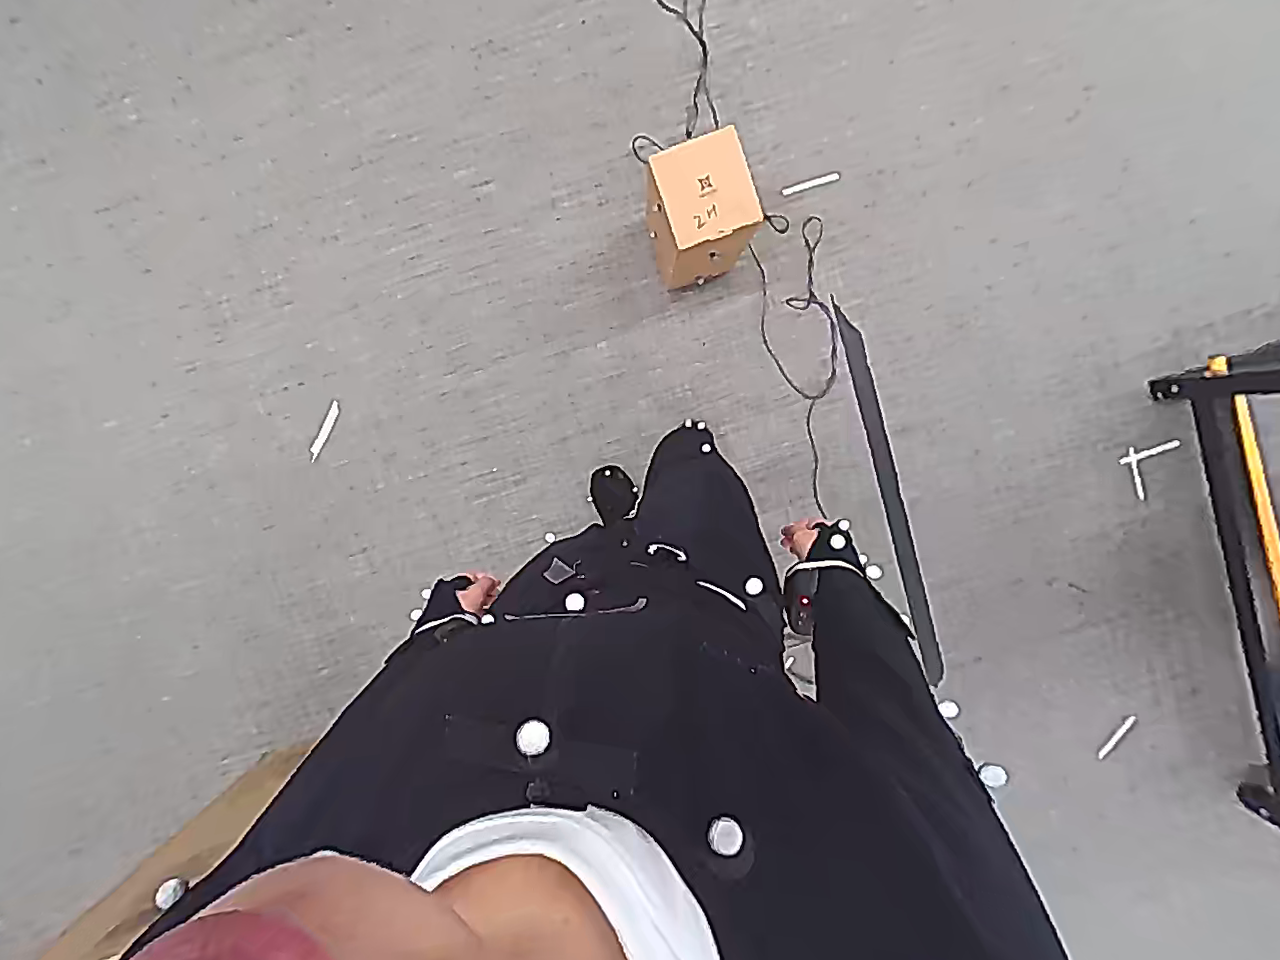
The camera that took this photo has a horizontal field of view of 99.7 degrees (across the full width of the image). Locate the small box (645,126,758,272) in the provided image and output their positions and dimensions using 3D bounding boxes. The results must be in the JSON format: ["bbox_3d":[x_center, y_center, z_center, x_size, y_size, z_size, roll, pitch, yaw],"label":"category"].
[{"bbox_3d":[0.110,-0.534,1.053,0.168,0.176,0.179,-19,97,2],"label":"small box"}]

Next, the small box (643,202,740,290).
[{"bbox_3d":[0.108,-0.552,1.217,0.168,0.176,0.179,-18,97,2],"label":"small box"}]
